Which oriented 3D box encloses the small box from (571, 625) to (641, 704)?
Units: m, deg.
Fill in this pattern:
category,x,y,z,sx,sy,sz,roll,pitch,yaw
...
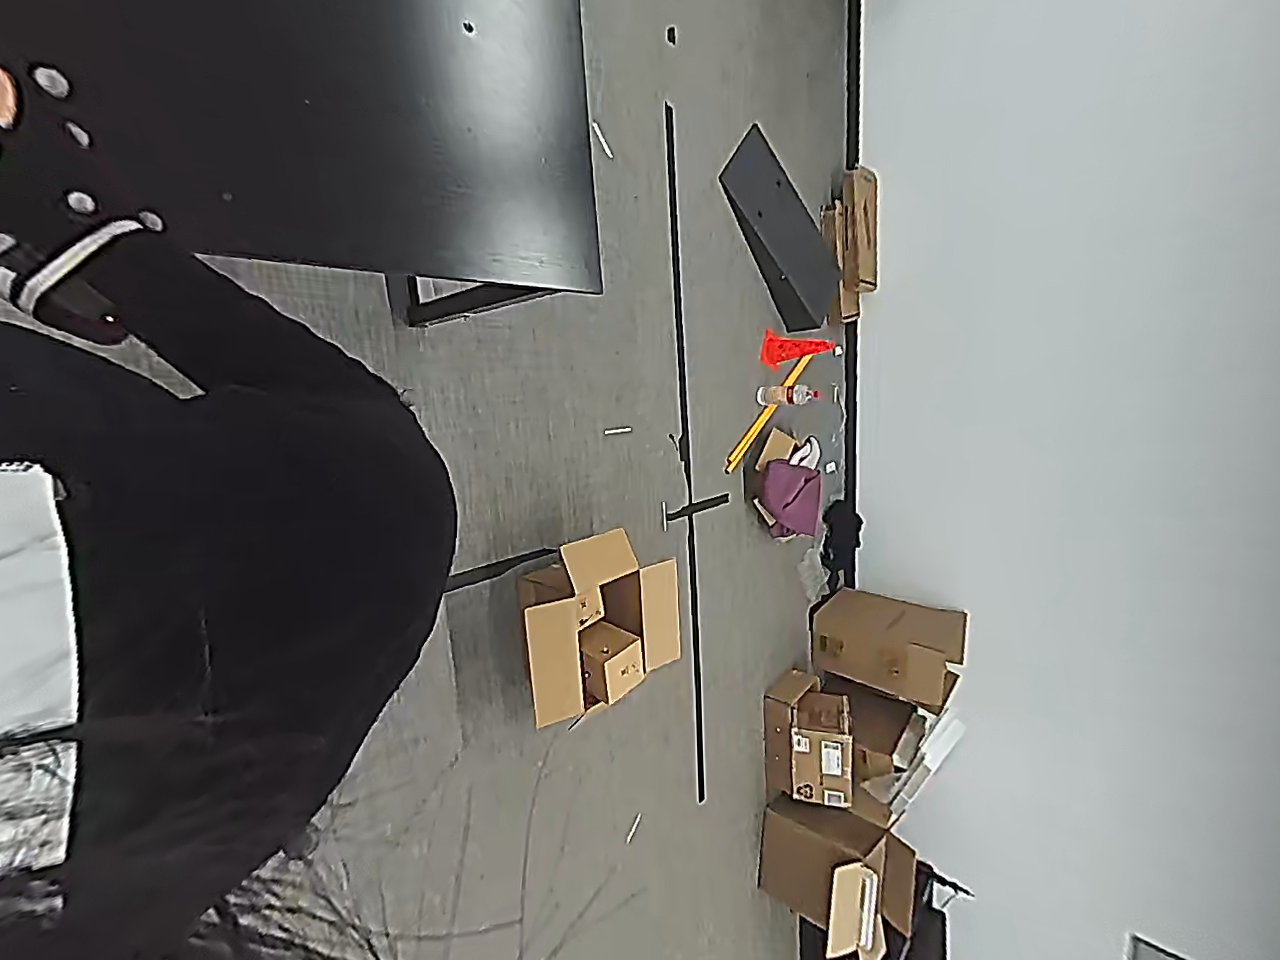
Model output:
category,x,y,z,sx,sy,sz,roll,pitch,yaw
small box,-0.121,0.624,1.851,0.179,0.176,0.168,-22,114,-45
